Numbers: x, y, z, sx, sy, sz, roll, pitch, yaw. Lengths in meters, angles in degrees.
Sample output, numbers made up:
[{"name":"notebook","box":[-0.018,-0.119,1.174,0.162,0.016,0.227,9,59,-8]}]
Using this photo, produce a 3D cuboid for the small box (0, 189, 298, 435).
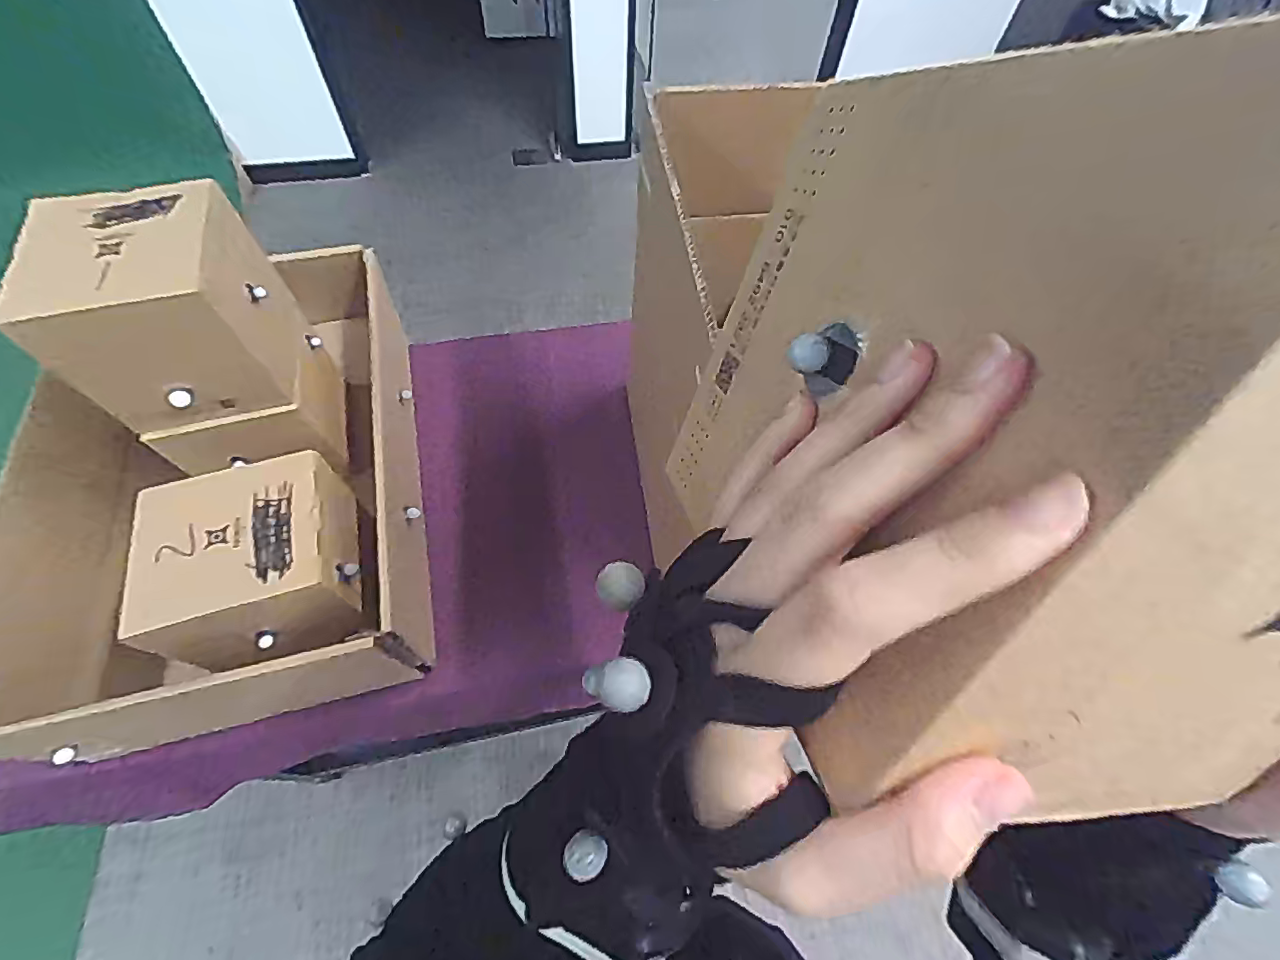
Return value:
[{"name":"small box","box":[-0.498,-0.176,0.583,0.168,0.176,0.179,-14,63,-9]}]

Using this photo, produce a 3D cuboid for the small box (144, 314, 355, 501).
[{"name":"small box","box":[-0.501,-0.088,0.723,0.168,0.176,0.179,-15,62,-10]}]
